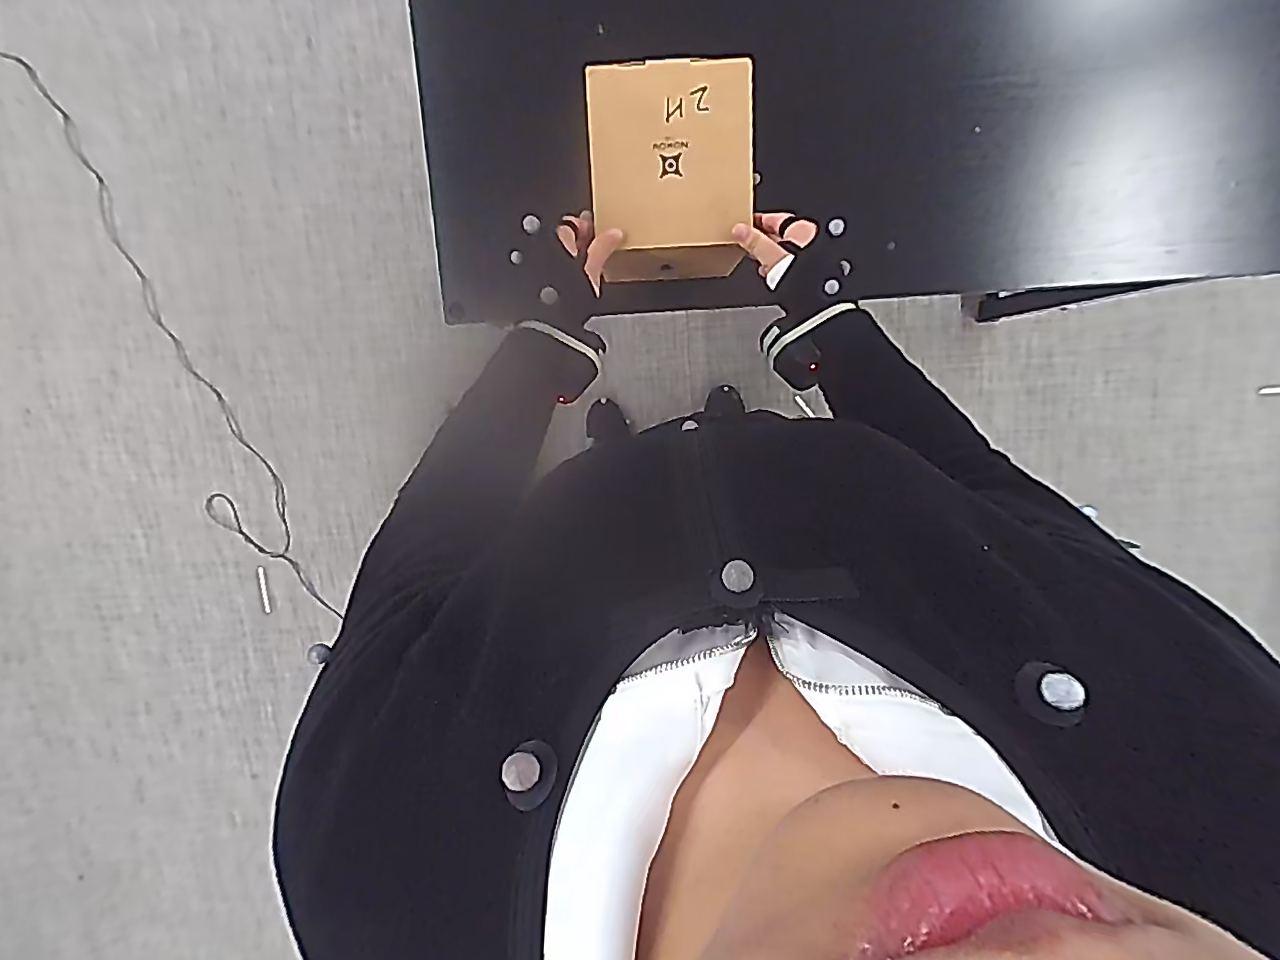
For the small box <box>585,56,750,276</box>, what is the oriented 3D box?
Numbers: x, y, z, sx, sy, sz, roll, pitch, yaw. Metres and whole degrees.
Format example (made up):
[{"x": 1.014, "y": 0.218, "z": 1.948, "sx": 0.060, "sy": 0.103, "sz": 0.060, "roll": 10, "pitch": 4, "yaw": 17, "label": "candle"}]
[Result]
[{"x": 0.031, "y": -0.341, "z": 0.624, "sx": 0.168, "sy": 0.176, "sz": 0.179, "roll": -3, "pitch": 99, "yaw": 1, "label": "small box"}]
